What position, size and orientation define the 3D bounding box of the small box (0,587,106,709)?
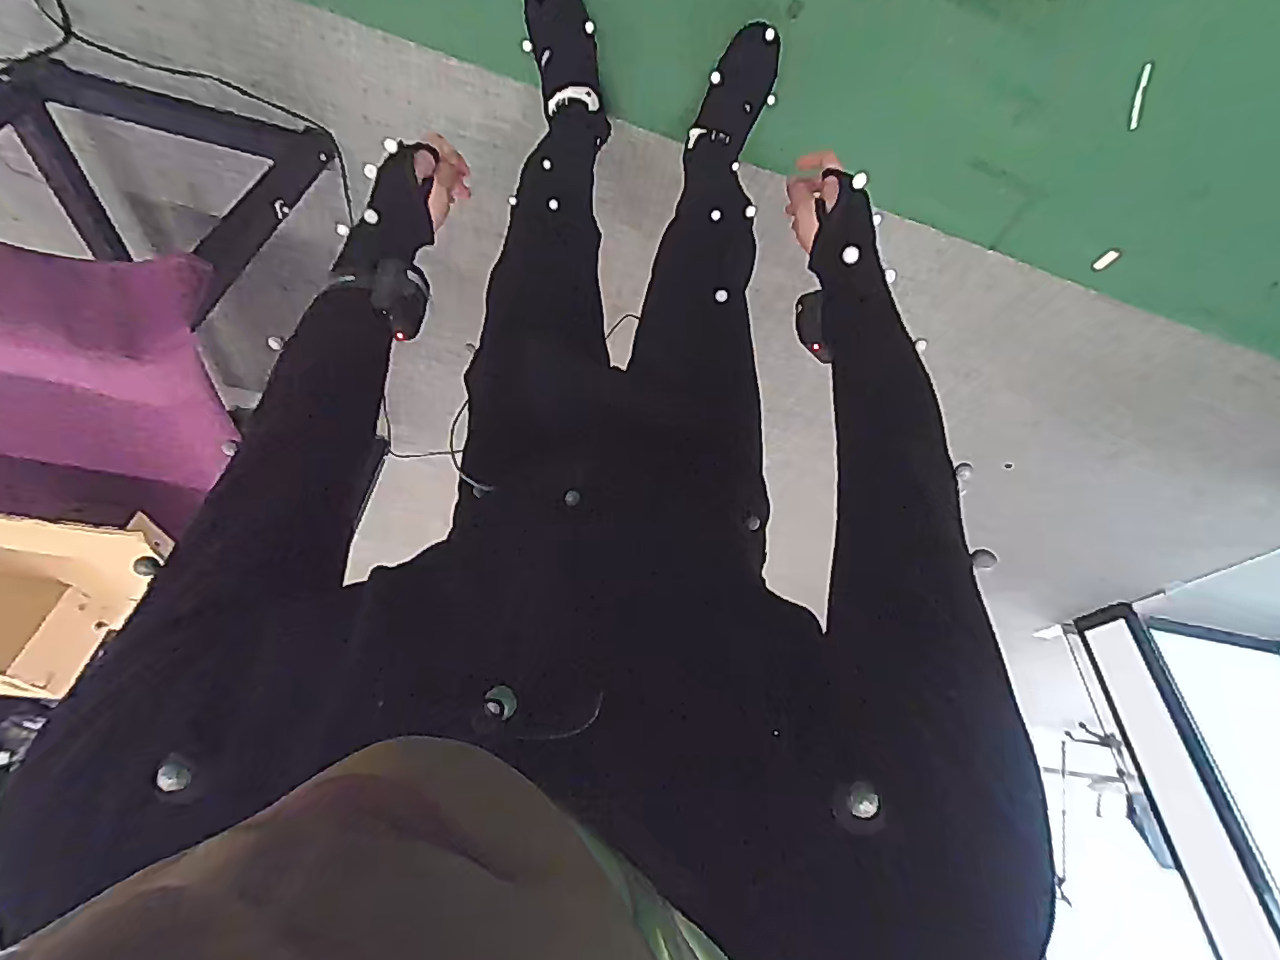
[{"bbox_3d":[-1.159,0.311,1.003,0.179,0.176,0.168,10,142,-9],"label":"small box"}]
